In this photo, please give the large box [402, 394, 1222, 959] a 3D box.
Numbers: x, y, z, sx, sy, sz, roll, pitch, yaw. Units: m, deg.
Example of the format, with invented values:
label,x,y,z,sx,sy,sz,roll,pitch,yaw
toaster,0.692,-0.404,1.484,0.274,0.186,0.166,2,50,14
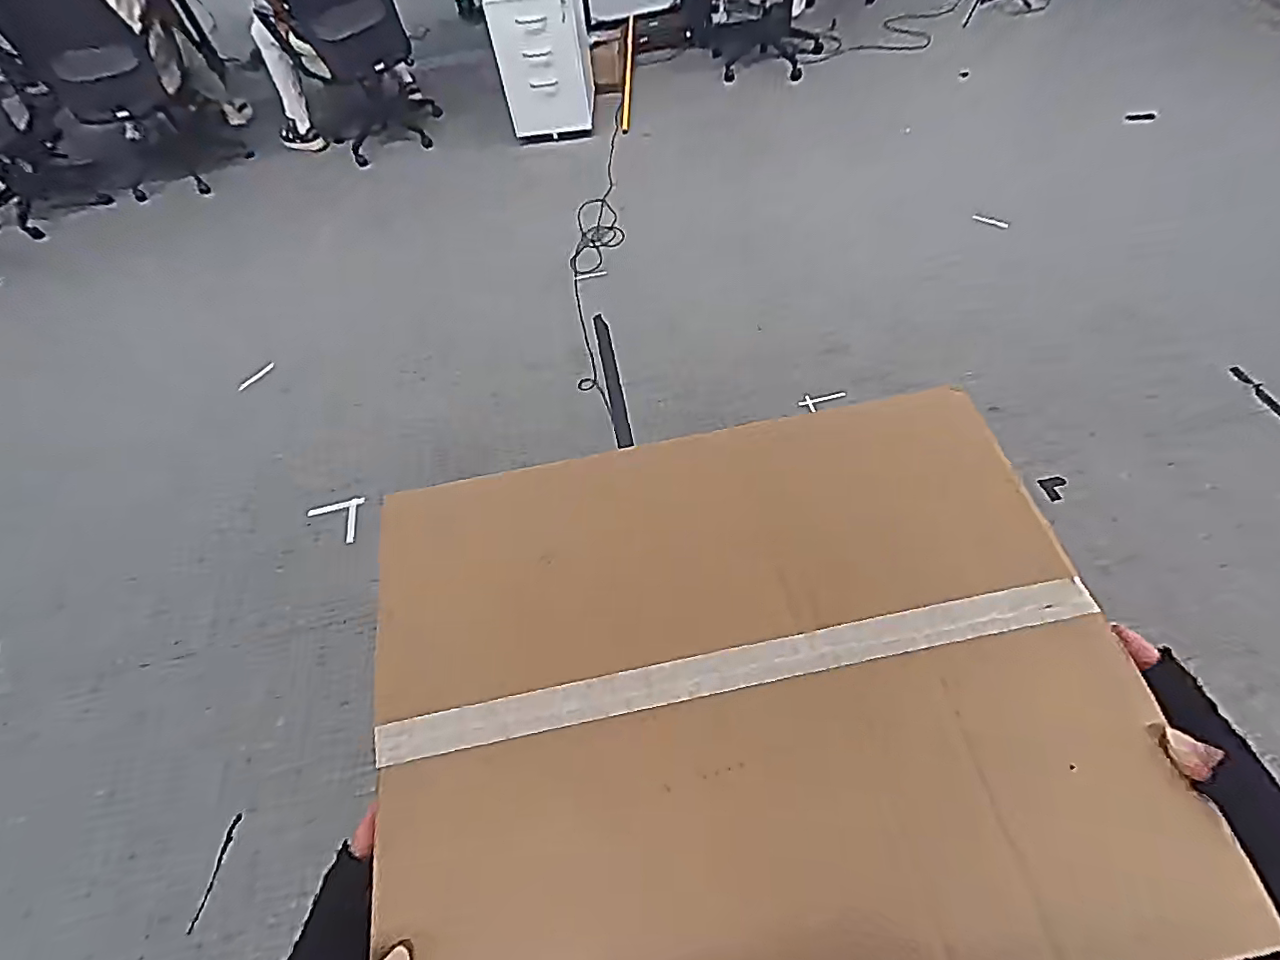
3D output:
label,x,y,z,sx,sy,sz,roll,pitch,yaw
large box,0.066,0.178,0.450,0.408,0.320,0.320,-11,63,-2
